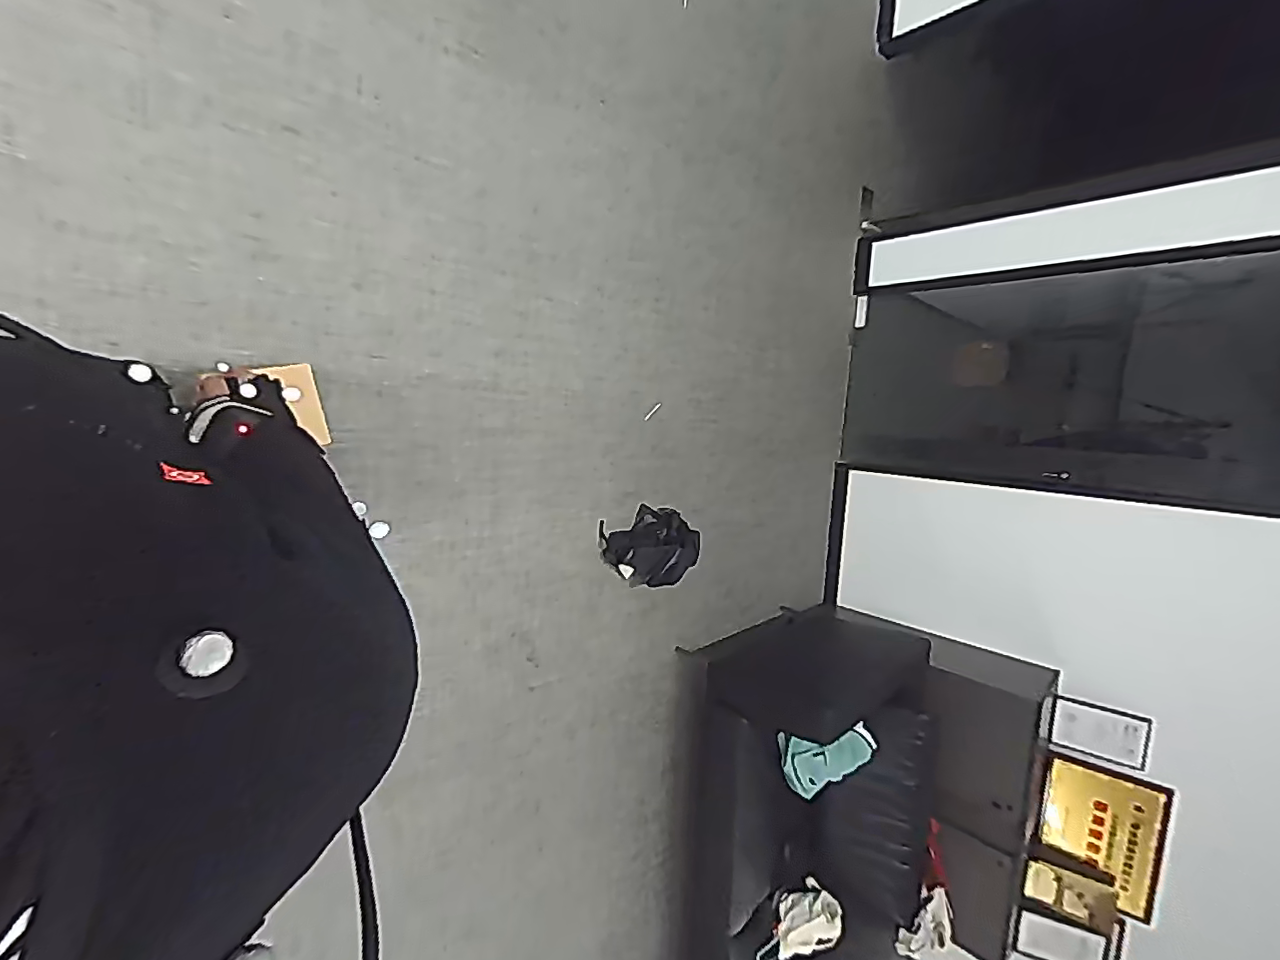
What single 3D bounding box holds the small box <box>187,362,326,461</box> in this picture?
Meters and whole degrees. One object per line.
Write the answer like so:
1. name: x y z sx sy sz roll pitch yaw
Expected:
1. small box: -0.771 -0.146 1.088 0.179 0.176 0.168 -22 113 -40
